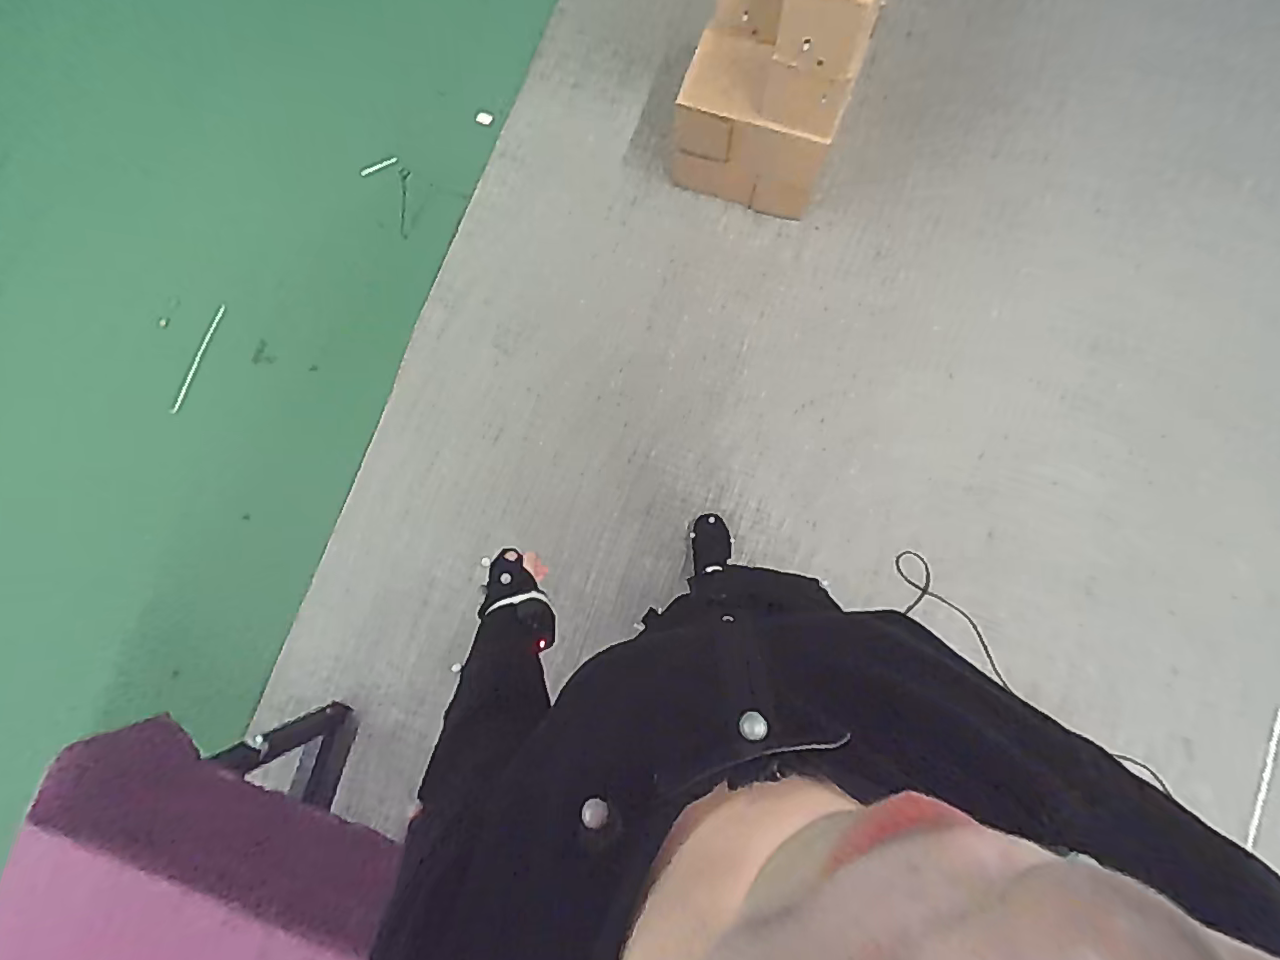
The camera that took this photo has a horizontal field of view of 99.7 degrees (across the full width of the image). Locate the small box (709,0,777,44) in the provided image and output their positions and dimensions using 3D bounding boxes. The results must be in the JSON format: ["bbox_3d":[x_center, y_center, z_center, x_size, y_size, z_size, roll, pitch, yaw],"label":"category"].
[{"bbox_3d":[0.268,-1.210,1.296,0.168,0.176,0.179,20,81,8],"label":"small box"}]

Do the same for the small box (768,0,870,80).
[{"bbox_3d":[0.370,-0.963,1.082,0.168,0.176,0.179,23,83,6],"label":"small box"}]
